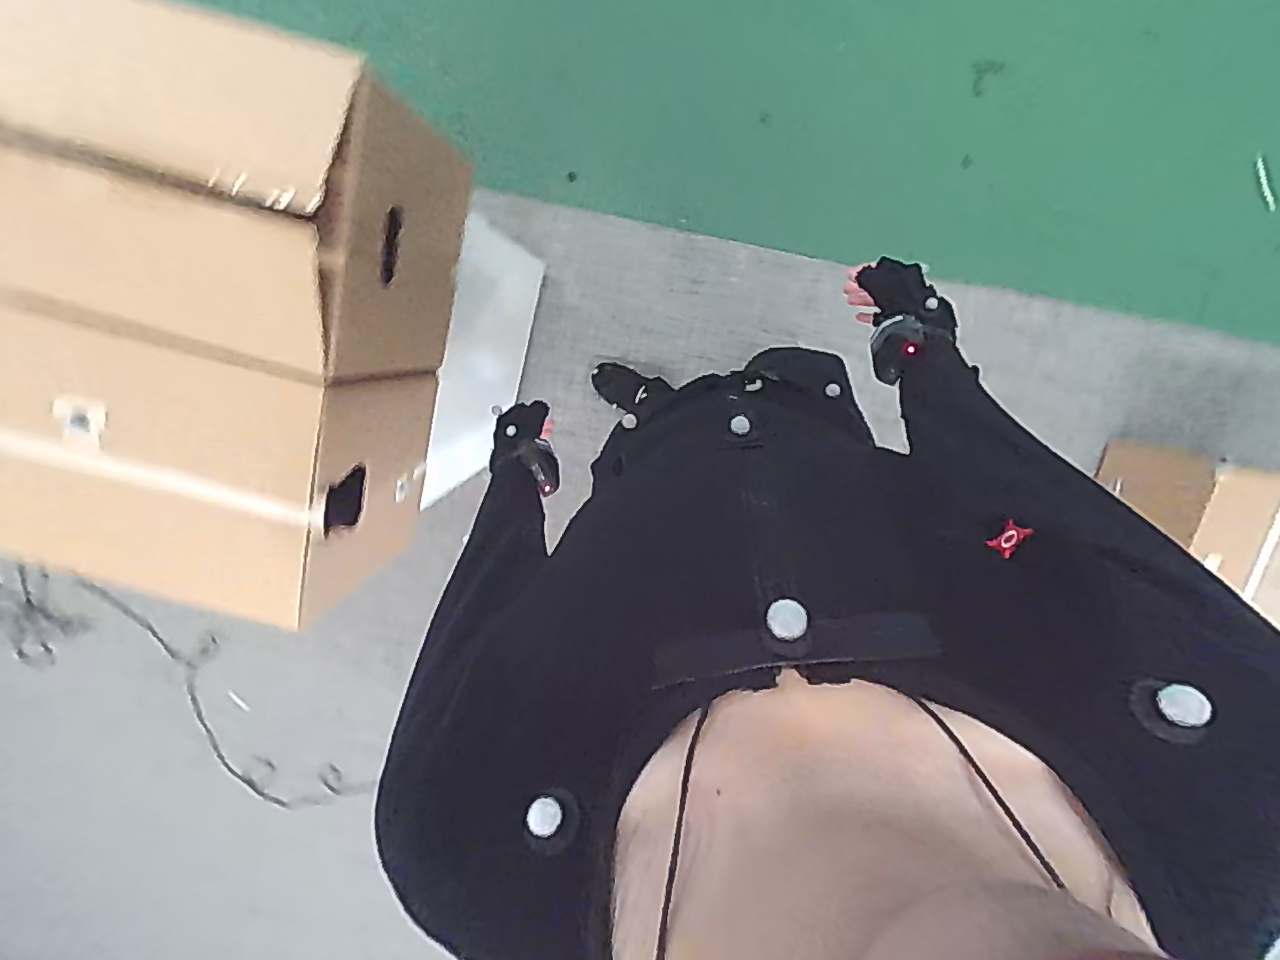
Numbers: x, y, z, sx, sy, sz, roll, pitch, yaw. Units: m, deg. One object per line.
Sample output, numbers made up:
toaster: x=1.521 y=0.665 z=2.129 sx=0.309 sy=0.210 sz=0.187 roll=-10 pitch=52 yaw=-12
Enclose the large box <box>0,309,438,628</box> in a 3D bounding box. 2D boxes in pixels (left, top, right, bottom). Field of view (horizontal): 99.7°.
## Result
large box: x=-0.559 y=-0.038 z=0.779 sx=0.408 sy=0.320 sz=0.320 roll=14 pitch=103 yaw=1
